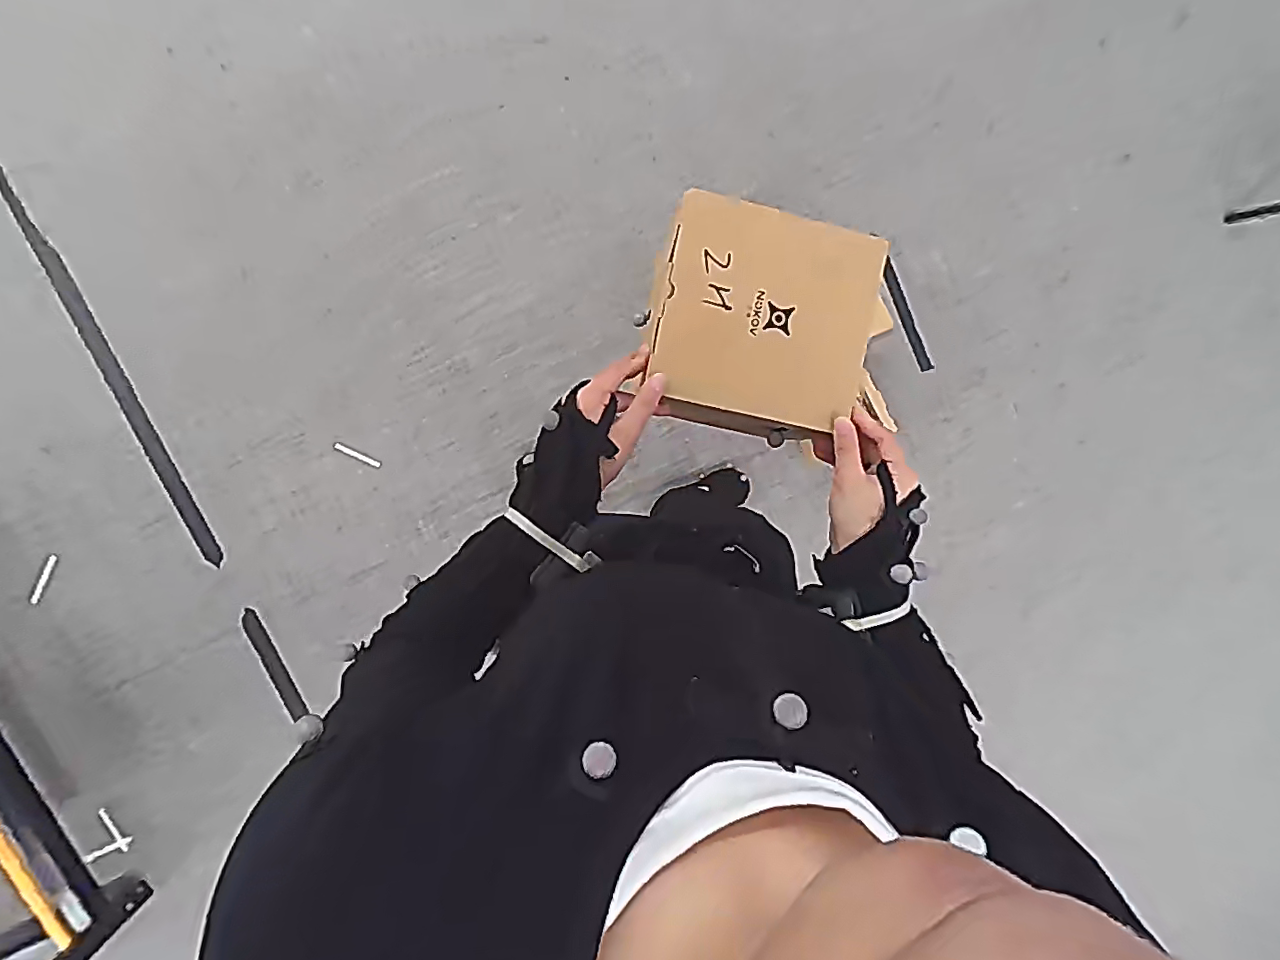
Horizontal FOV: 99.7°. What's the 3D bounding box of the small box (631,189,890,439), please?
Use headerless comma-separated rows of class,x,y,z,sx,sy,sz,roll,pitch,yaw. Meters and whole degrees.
small box,0.096,-0.137,0.513,0.179,0.176,0.168,11,92,-6
